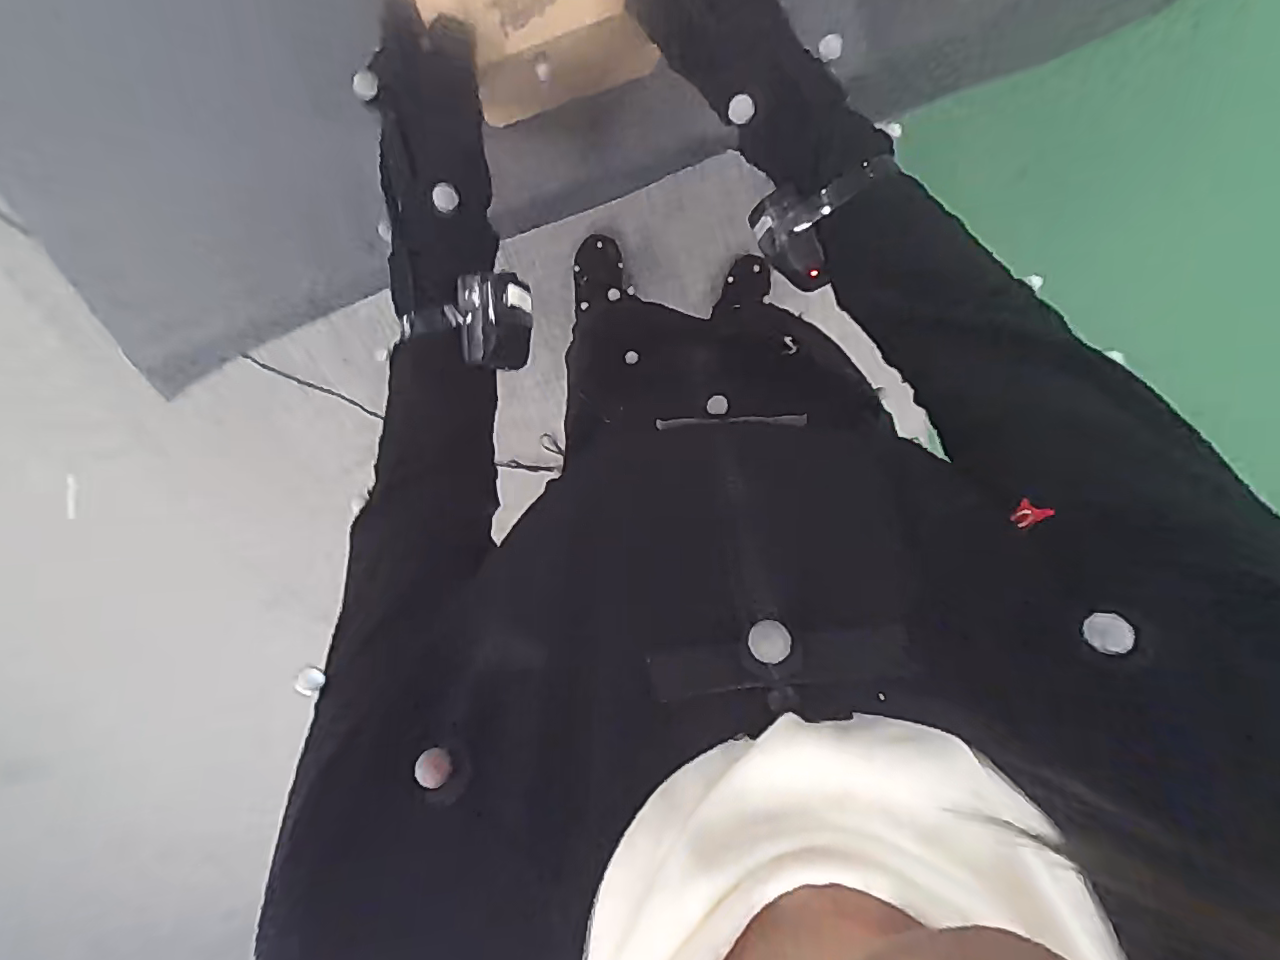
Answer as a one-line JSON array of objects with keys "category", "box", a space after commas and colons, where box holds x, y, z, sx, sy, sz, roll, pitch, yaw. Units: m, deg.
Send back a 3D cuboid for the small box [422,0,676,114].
[{"category": "small box", "box": [-0.080, -0.404, 0.393, 0.168, 0.176, 0.179, -17, 114, 4]}]
